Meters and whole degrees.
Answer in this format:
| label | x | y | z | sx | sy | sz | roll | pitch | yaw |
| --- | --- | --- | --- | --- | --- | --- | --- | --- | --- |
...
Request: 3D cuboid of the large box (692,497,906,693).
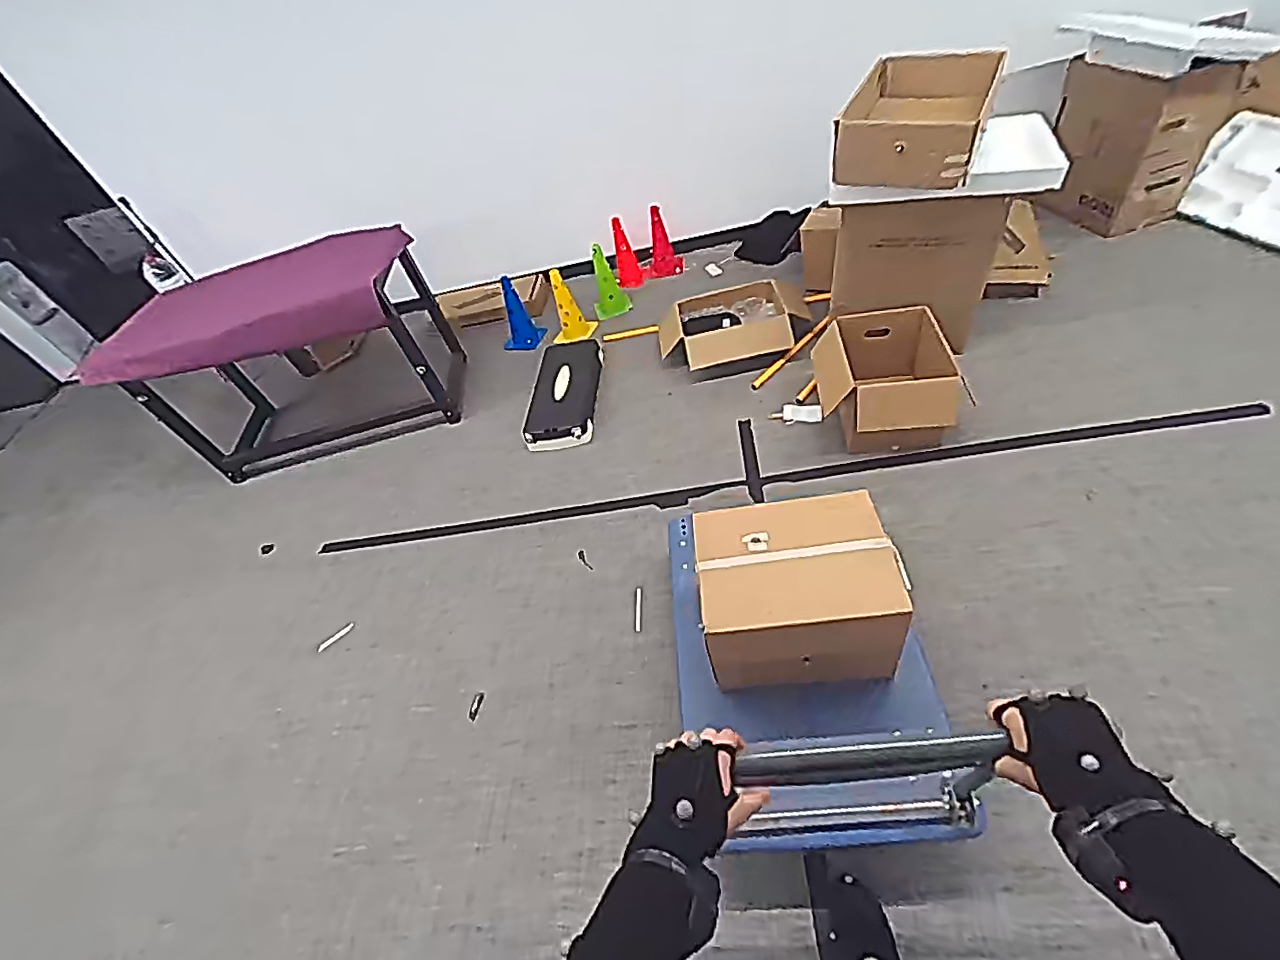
| label | x | y | z | sx | sy | sz | roll | pitch | yaw |
| --- | --- | --- | --- | --- | --- | --- | --- | --- | --- |
| large box | 0.357 | 0.282 | 1.284 | 0.408 | 0.320 | 0.320 | -10 | 46 | 9 |
